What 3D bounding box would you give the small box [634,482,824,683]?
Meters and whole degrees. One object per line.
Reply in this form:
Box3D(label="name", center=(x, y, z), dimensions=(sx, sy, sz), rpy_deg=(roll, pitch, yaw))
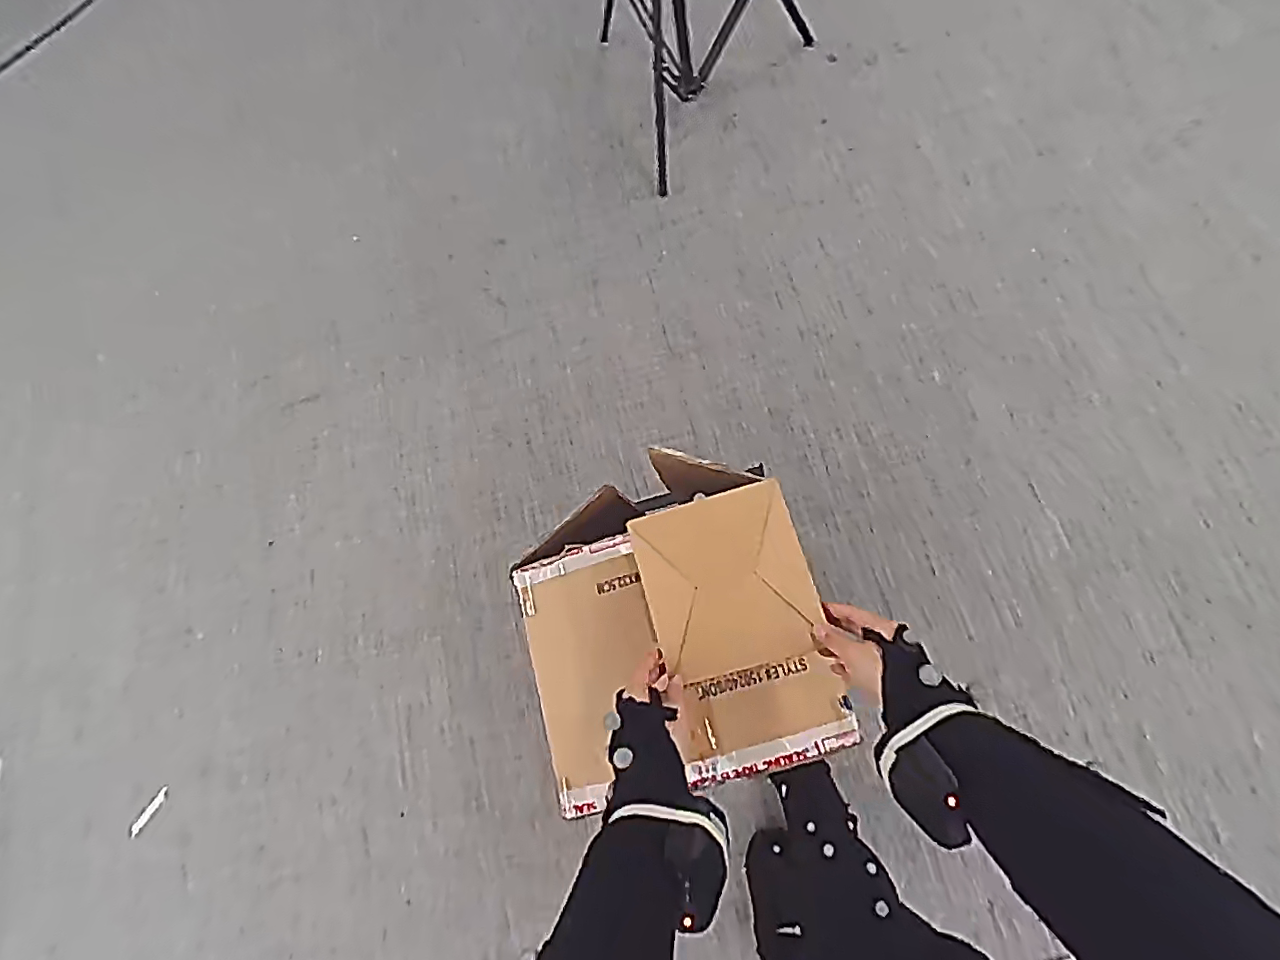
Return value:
Box3D(label="small box", center=(0.099, 0.120, 0.623), dimensions=(0.168, 0.176, 0.179), rpy_deg=(-17, 76, 5))
